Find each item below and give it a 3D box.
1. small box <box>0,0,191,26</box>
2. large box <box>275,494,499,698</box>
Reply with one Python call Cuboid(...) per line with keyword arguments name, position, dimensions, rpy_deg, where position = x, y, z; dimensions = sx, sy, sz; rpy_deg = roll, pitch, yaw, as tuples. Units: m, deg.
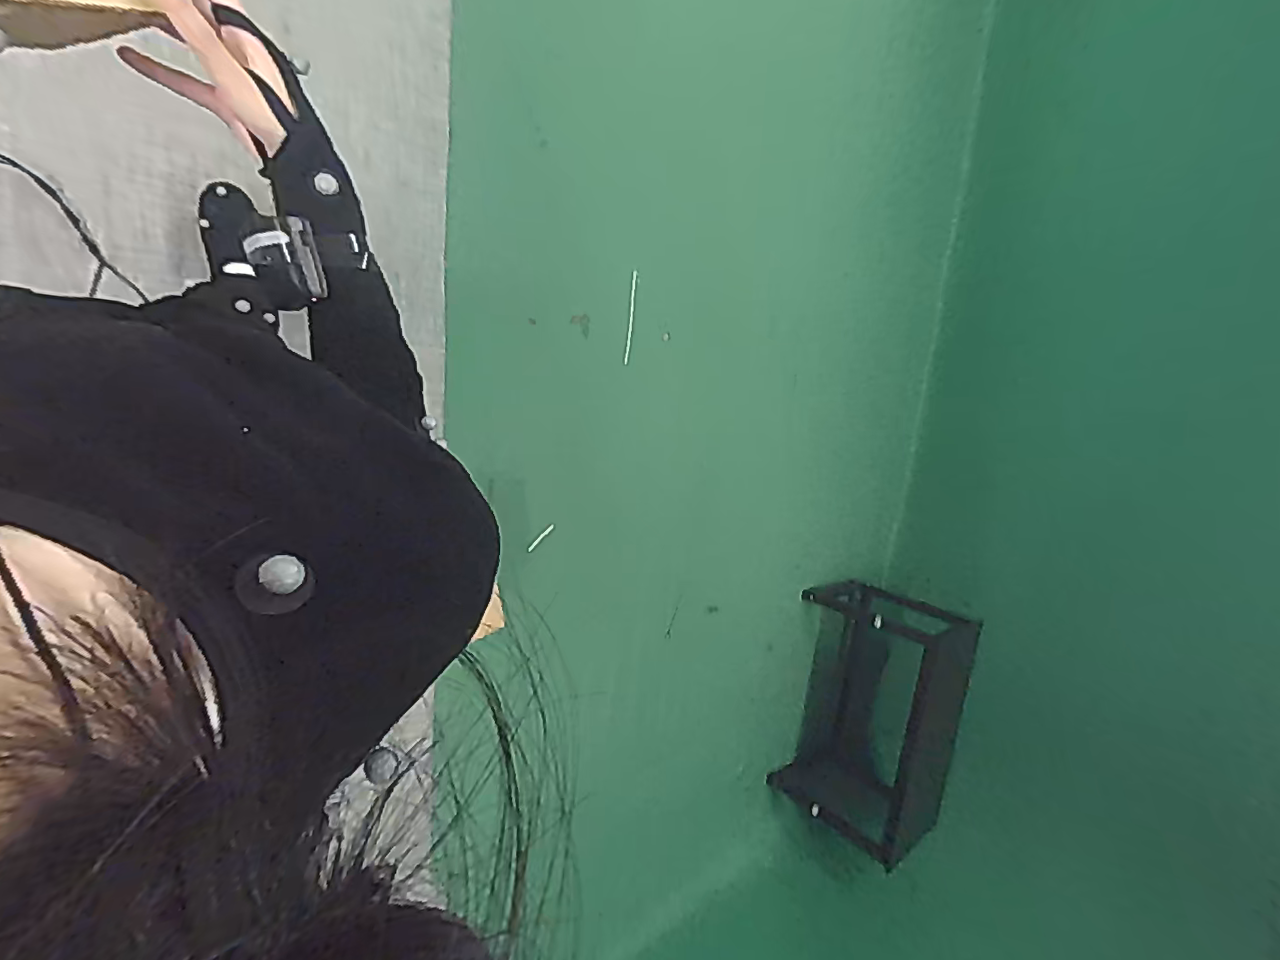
Cuboid(name="small box", position=(-0.390, -0.334, 0.257), dimensions=(0.179, 0.176, 0.168), rpy_deg=(-54, 148, -47))
Cuboid(name="large box", position=(-0.637, 0.262, 1.381), dimensions=(0.408, 0.320, 0.320), rpy_deg=(-21, 115, -38))
